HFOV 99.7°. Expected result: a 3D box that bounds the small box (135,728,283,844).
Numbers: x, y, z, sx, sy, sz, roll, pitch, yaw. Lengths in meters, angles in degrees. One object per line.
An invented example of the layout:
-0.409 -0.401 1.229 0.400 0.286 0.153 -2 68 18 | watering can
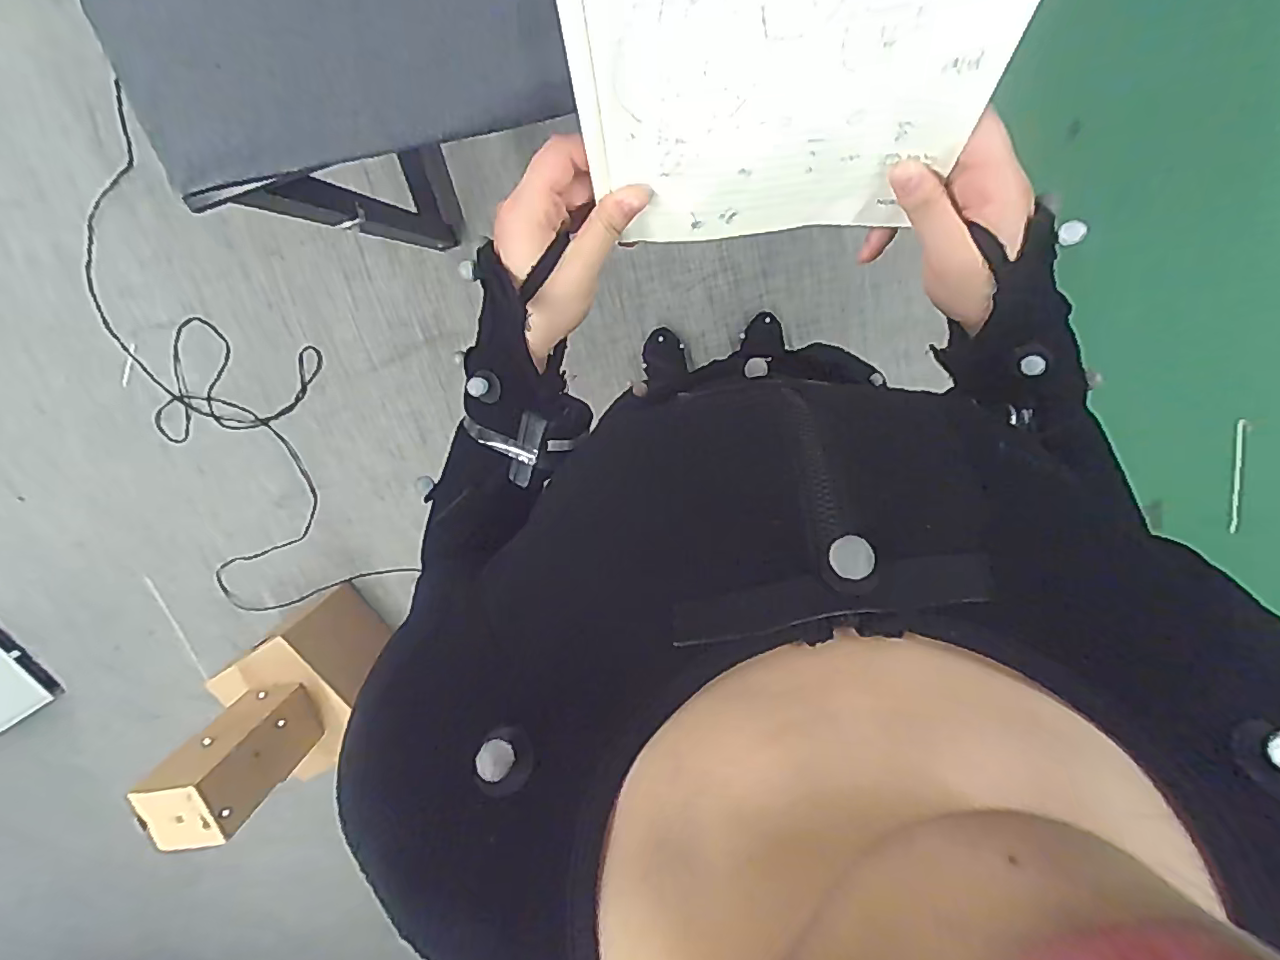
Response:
-0.990 0.706 1.258 0.179 0.176 0.168 -11 107 10 | small box
